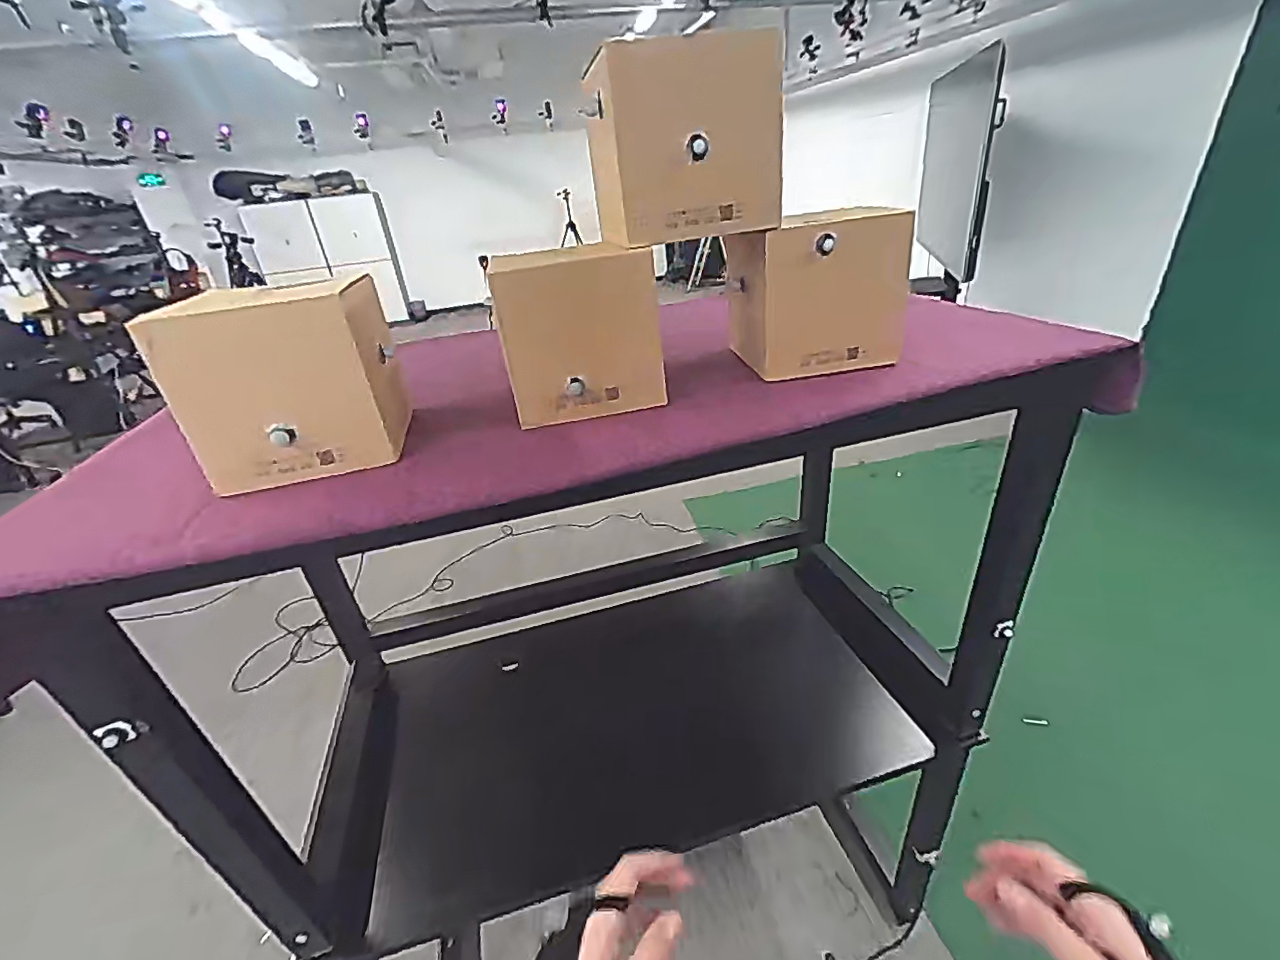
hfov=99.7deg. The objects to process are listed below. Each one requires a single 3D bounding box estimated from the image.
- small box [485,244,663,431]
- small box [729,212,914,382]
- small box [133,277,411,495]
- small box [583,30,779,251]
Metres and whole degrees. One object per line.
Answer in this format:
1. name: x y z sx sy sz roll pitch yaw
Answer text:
1. small box: -0.075 -0.172 0.631 0.168 0.176 0.179 -12 29 -7
2. small box: 0.210 -0.231 0.676 0.168 0.176 0.179 -9 27 -2
3. small box: -0.350 -0.105 0.562 0.168 0.176 0.179 -13 29 -11
4. small box: 0.040 -0.347 0.580 0.168 0.176 0.179 -11 28 -7
